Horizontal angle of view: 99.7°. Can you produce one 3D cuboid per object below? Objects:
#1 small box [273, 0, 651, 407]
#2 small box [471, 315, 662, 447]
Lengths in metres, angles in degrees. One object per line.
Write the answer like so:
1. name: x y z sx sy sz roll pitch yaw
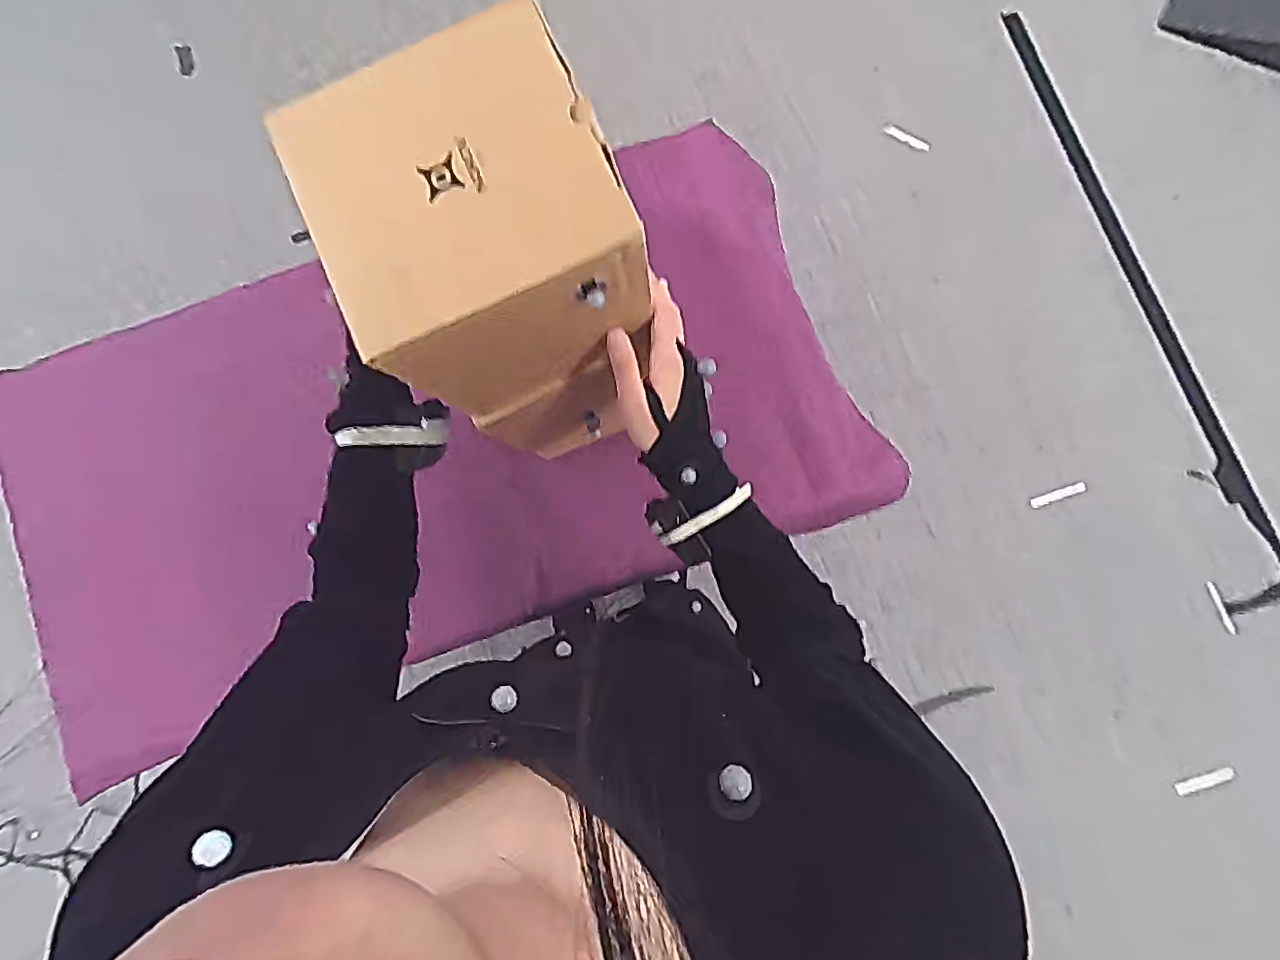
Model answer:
1. small box: -0.102 -0.170 0.387 0.179 0.176 0.168 -24 84 0
2. small box: -0.089 -0.148 0.548 0.179 0.176 0.168 -25 84 1
